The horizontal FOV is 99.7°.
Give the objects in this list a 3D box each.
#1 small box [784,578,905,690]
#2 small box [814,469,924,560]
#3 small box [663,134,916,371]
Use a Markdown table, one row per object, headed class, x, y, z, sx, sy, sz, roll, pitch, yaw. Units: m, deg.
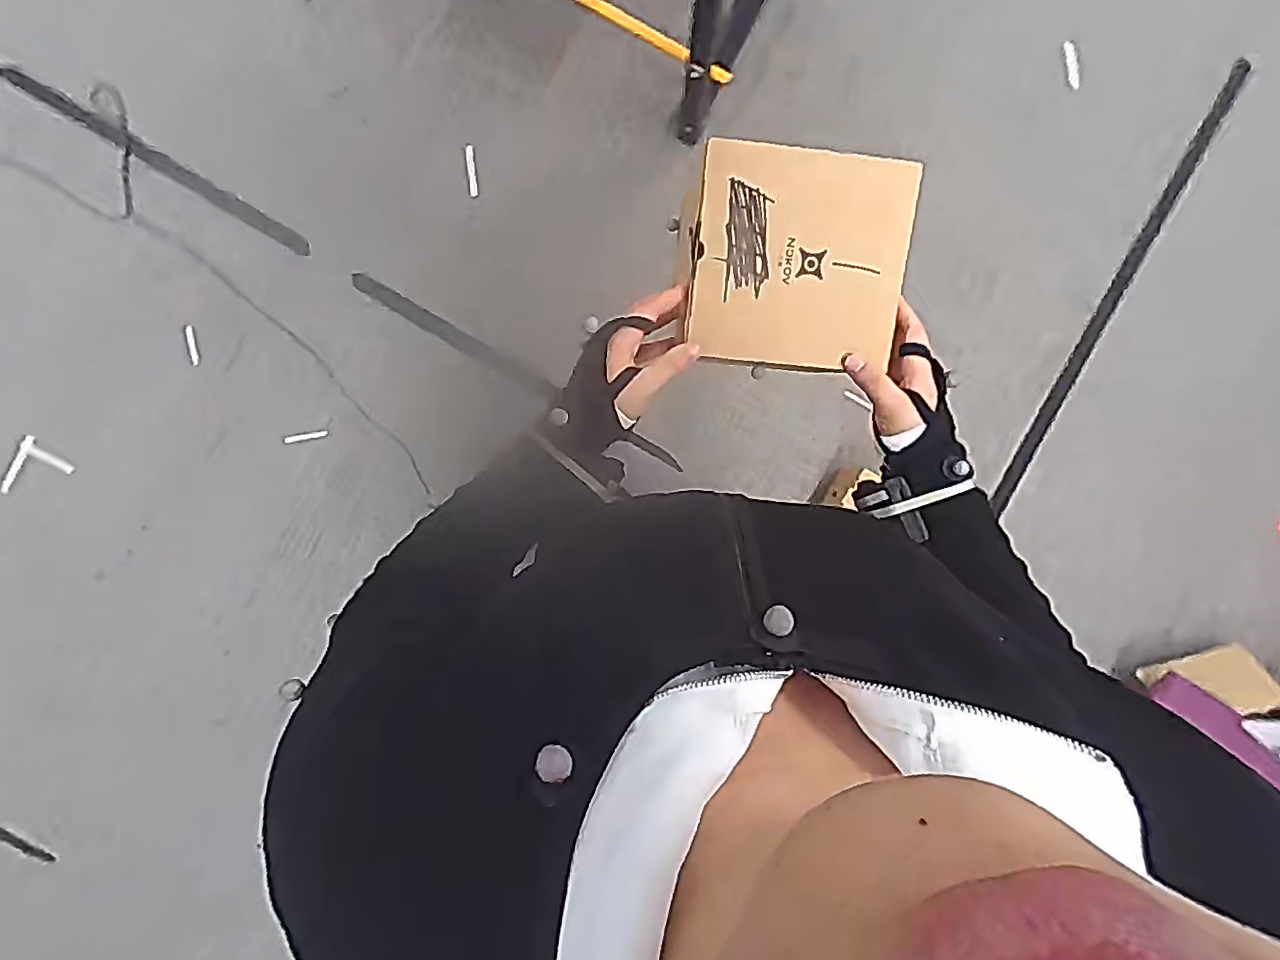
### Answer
| class | x | y | z | sx | sy | sz | roll | pitch | yaw |
| --- | --- | --- | --- | --- | --- | --- | --- | --- | --- |
| small box | 0.463 | 0.344 | 1.253 | 0.179 | 0.176 | 0.168 | 30 | 90 | 1 |
| small box | 0.585 | 0.086 | 1.411 | 0.179 | 0.176 | 0.168 | 32 | 90 | 0 |
| small box | 0.118 | -0.192 | 0.506 | 0.179 | 0.176 | 0.168 | 4 | 101 | -4 |
